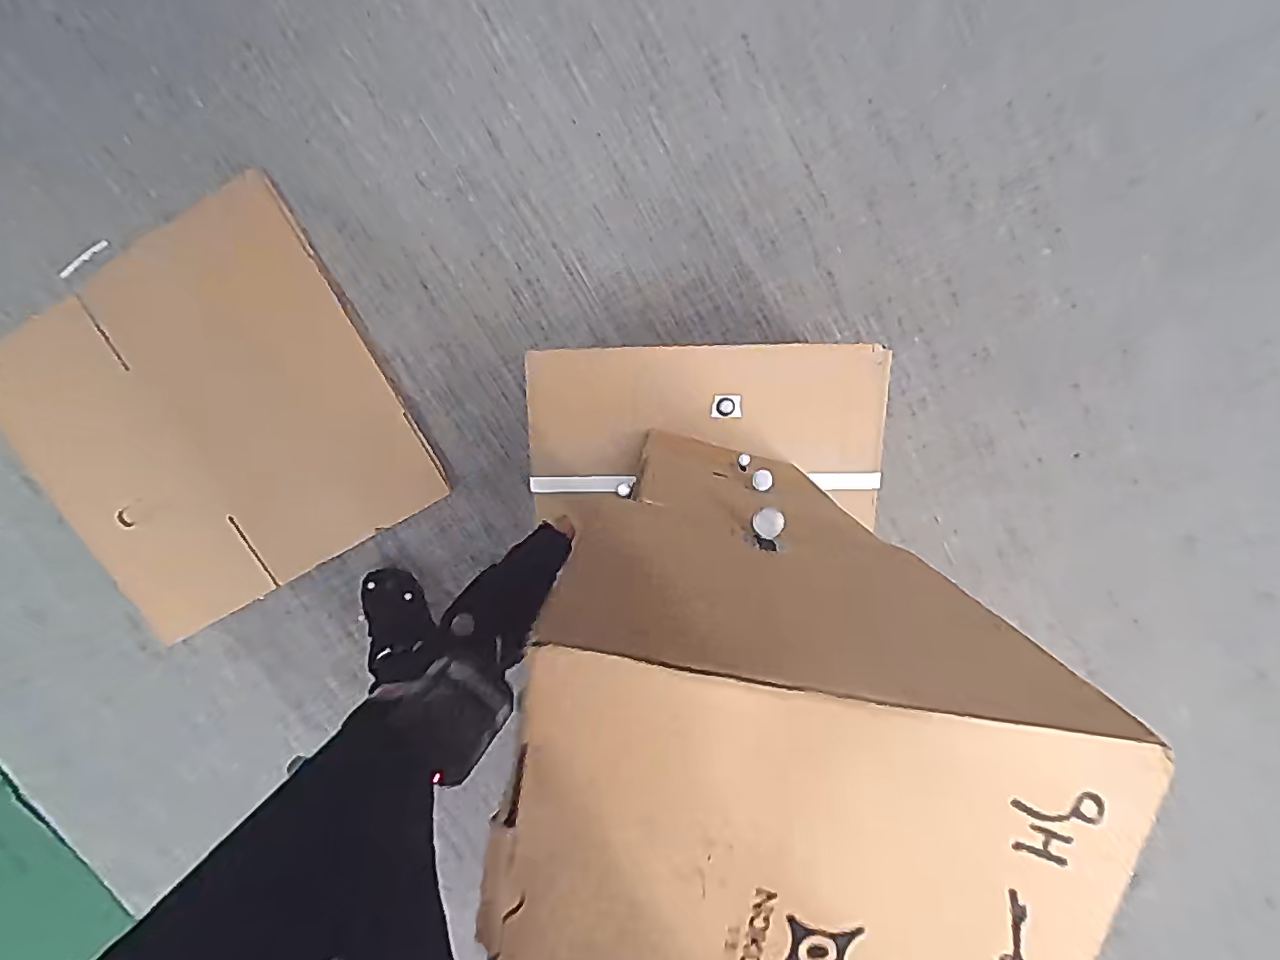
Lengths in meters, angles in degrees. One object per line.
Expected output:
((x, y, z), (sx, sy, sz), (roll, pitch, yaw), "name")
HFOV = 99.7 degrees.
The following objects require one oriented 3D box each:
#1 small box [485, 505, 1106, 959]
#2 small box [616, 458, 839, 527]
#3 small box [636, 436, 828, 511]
((0.043, 0.112, 0.249), (0.179, 0.176, 0.168), (6, 99, 1), "small box")
((0.055, 0.095, 0.409), (0.168, 0.176, 0.179), (11, 103, 1), "small box")
((0.068, 0.057, 0.568), (0.179, 0.176, 0.168), (14, 102, 1), "small box")
